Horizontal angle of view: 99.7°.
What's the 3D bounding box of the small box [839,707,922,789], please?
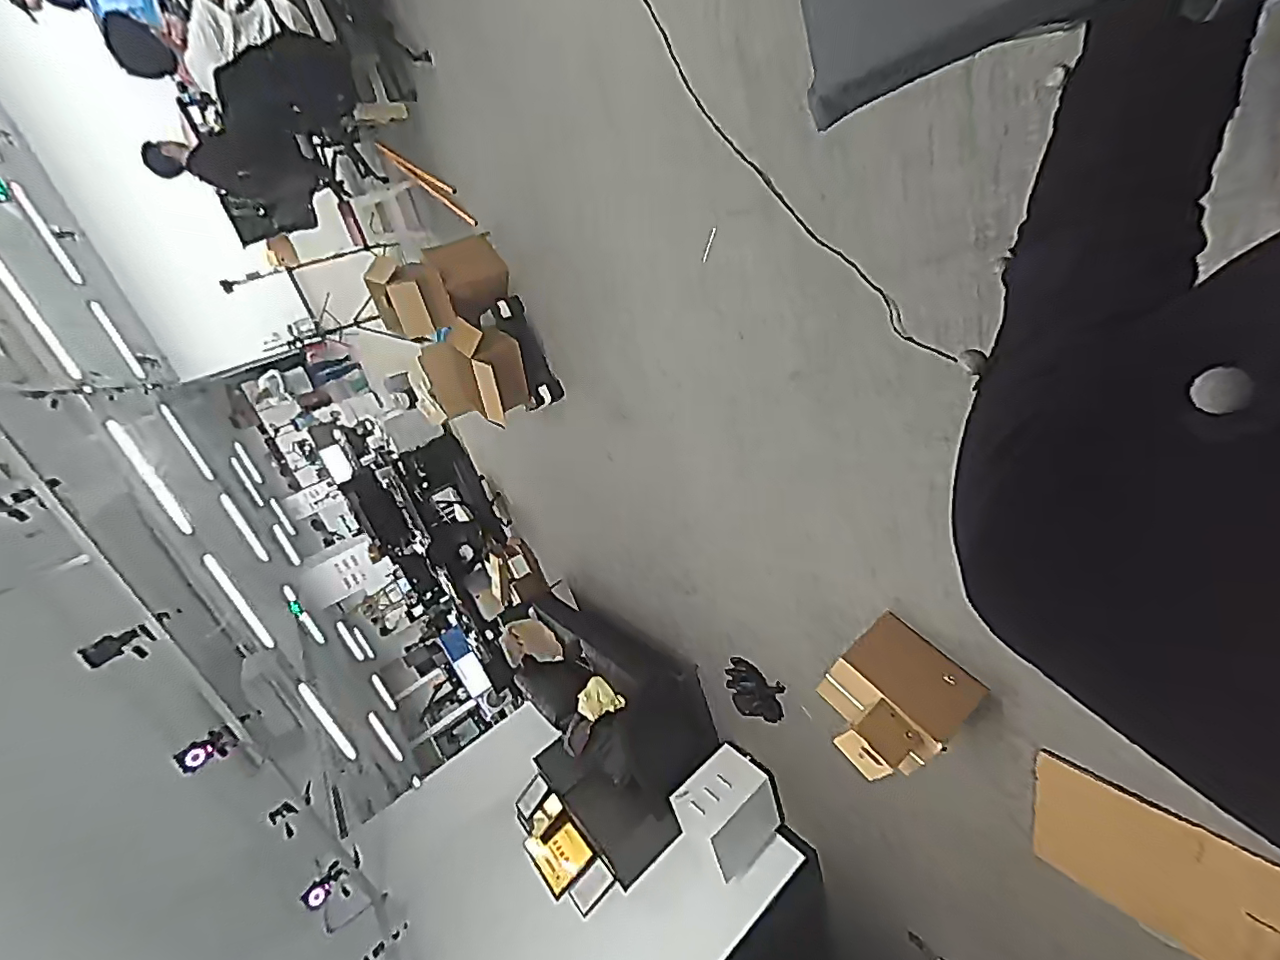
[{"bbox_3d":[0.818,0.903,1.830,0.168,0.176,0.179,46,150,26],"label":"small box"}]
